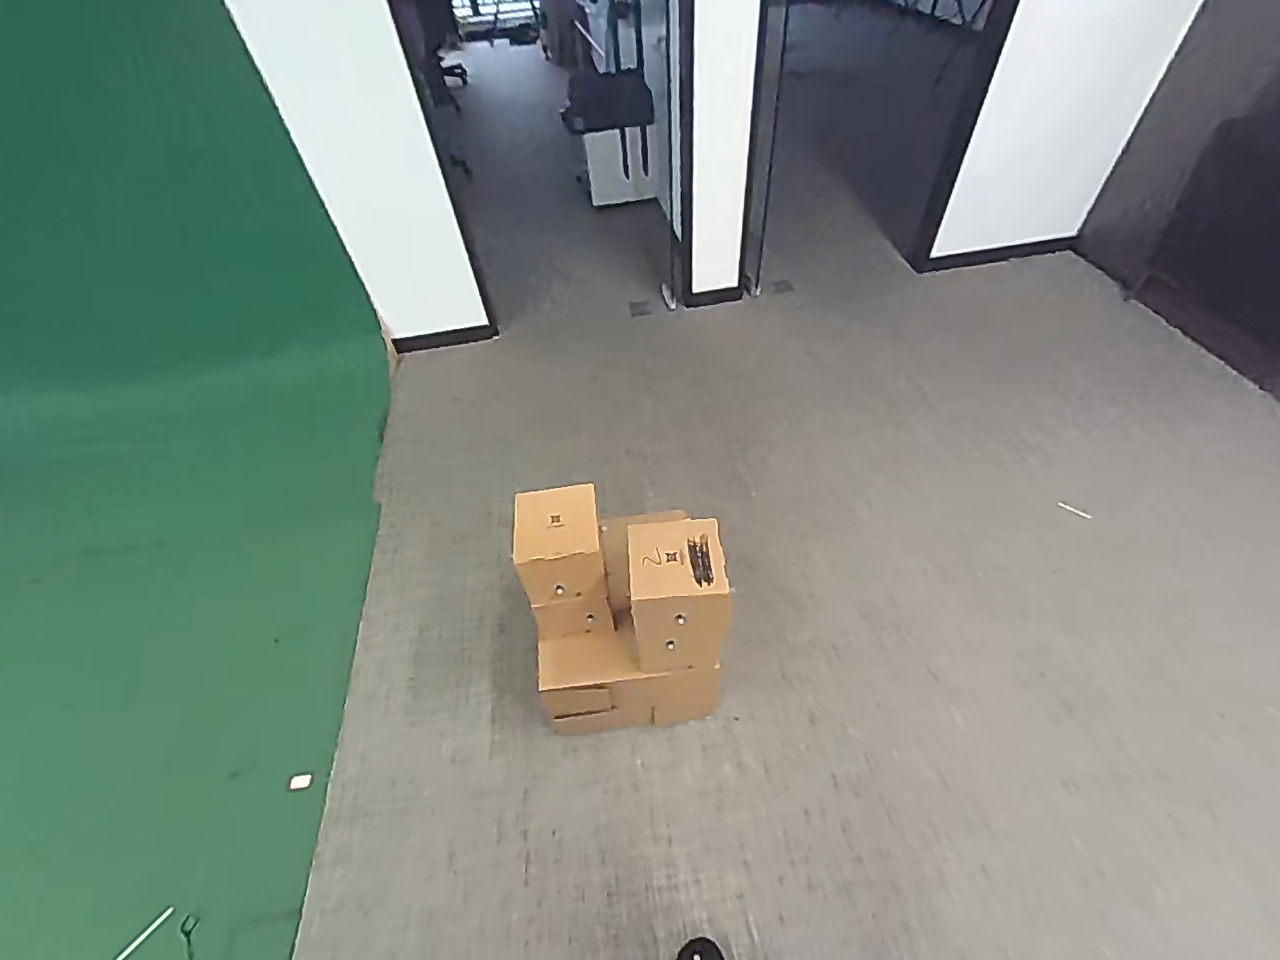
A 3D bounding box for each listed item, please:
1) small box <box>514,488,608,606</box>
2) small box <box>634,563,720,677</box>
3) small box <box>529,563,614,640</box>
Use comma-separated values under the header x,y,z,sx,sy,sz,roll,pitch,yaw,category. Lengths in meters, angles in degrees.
x,y,z,sx,sy,sz,roll,pitch,yaw,category
-0.160,0.141,1.130,0.168,0.176,0.179,-7,49,-1,small box
0.075,0.305,1.176,0.168,0.176,0.179,-6,46,0,small box
-0.153,0.255,1.248,0.168,0.176,0.179,-7,46,-1,small box
